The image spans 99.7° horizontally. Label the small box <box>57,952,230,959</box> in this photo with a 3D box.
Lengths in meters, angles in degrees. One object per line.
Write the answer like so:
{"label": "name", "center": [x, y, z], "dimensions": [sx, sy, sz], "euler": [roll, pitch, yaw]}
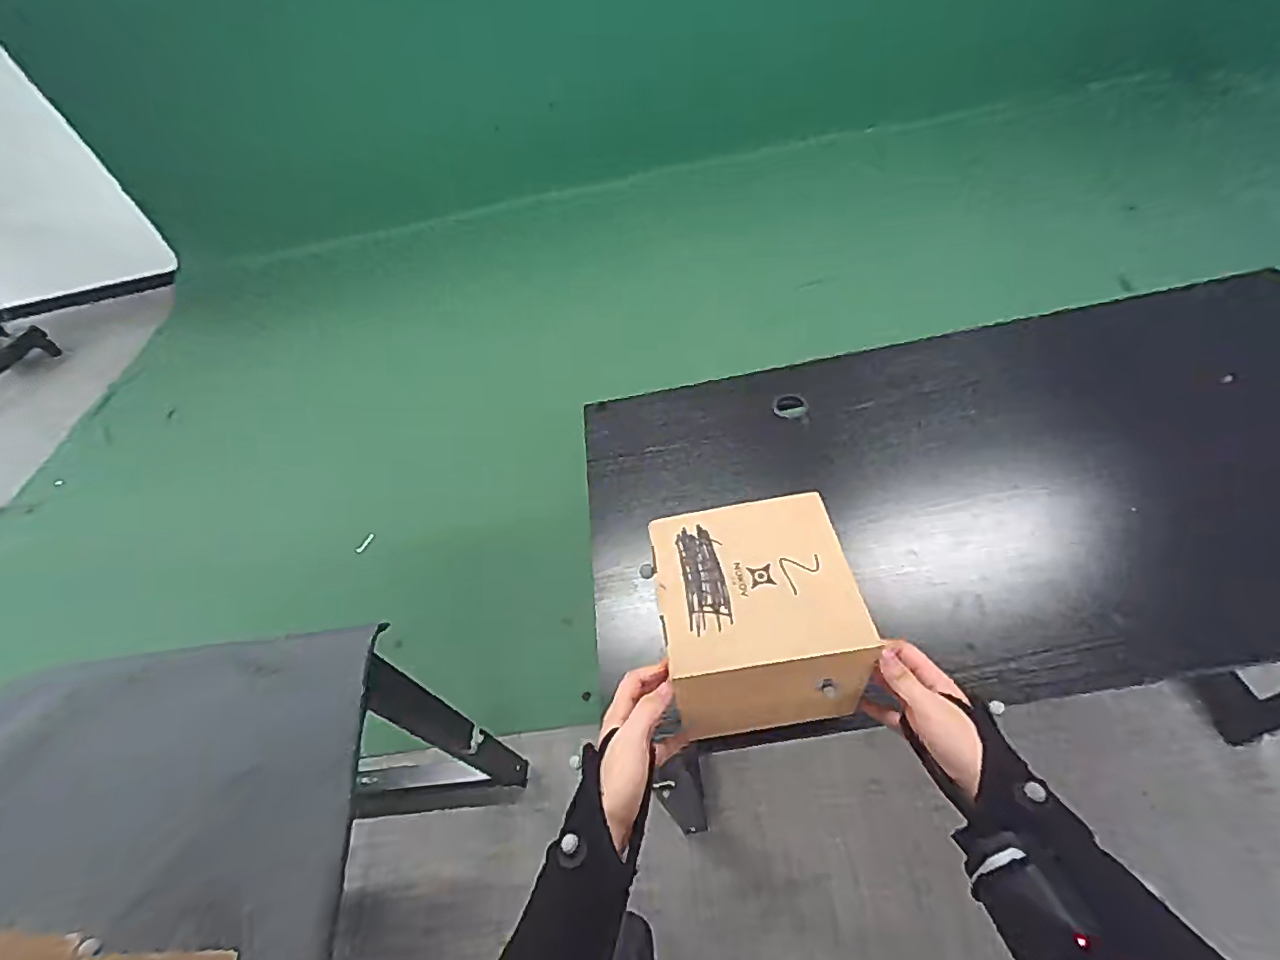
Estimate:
{"label": "small box", "center": [-0.491, 0.499, 0.438], "dimensions": [0.179, 0.176, 0.168], "euler": [-8, 51, 7]}
